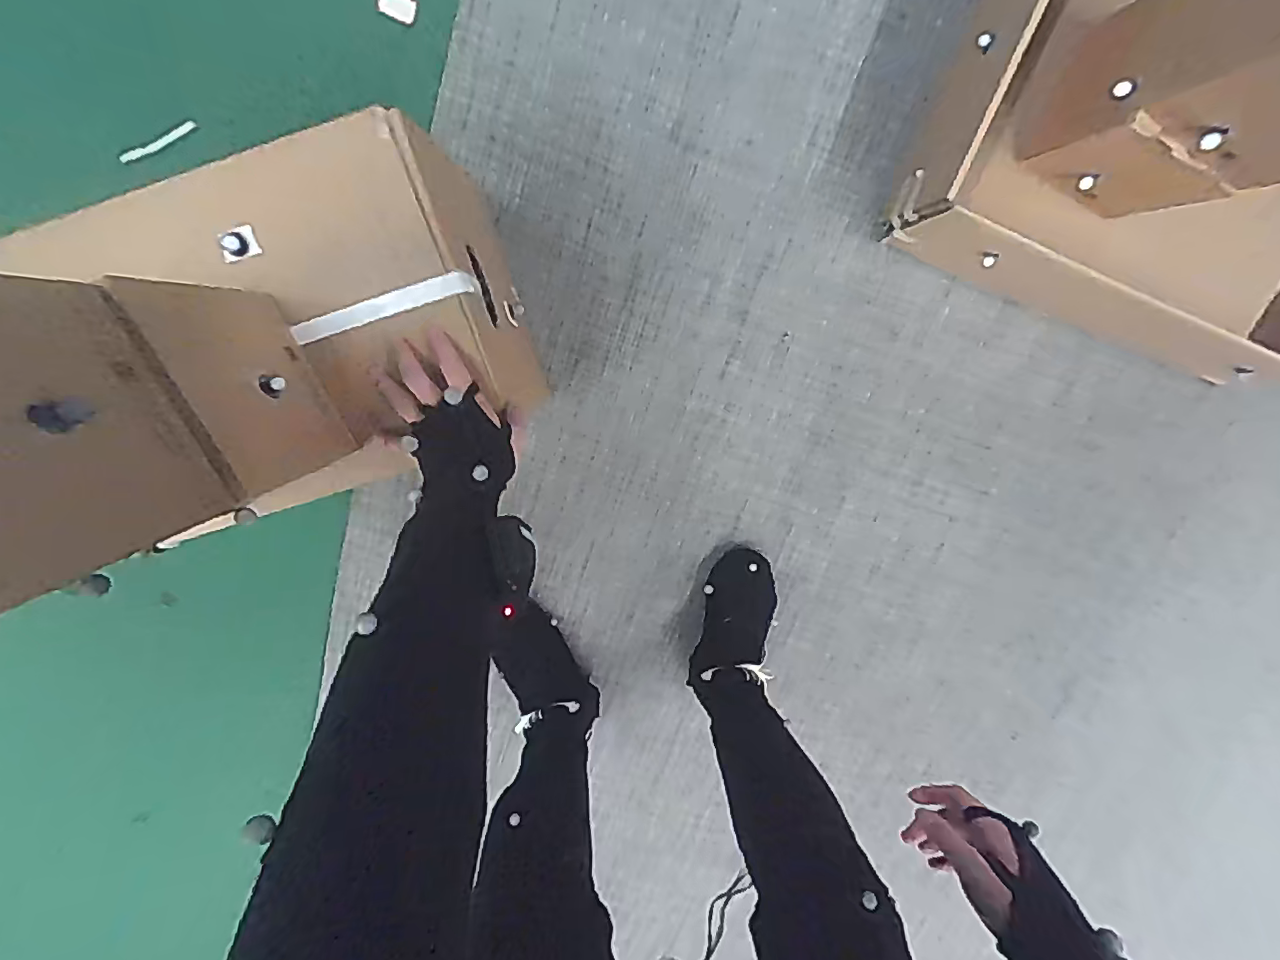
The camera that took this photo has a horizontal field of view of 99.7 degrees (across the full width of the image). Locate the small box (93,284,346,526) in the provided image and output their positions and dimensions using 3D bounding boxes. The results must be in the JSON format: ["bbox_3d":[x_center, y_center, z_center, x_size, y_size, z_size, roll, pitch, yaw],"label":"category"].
[{"bbox_3d":[-0.385,-0.049,0.454,0.179,0.176,0.168,-22,104,5],"label":"small box"}]

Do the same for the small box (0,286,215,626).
[{"bbox_3d":[-0.390,-0.002,0.297,0.179,0.176,0.168,-21,105,3],"label":"small box"}]

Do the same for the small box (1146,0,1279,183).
[{"bbox_3d":[0.625,-0.402,0.477,0.168,0.176,0.179,26,105,-11],"label":"small box"}]

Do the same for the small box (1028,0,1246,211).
[{"bbox_3d":[0.614,-0.446,0.633,0.168,0.176,0.179,22,106,-10],"label":"small box"}]
